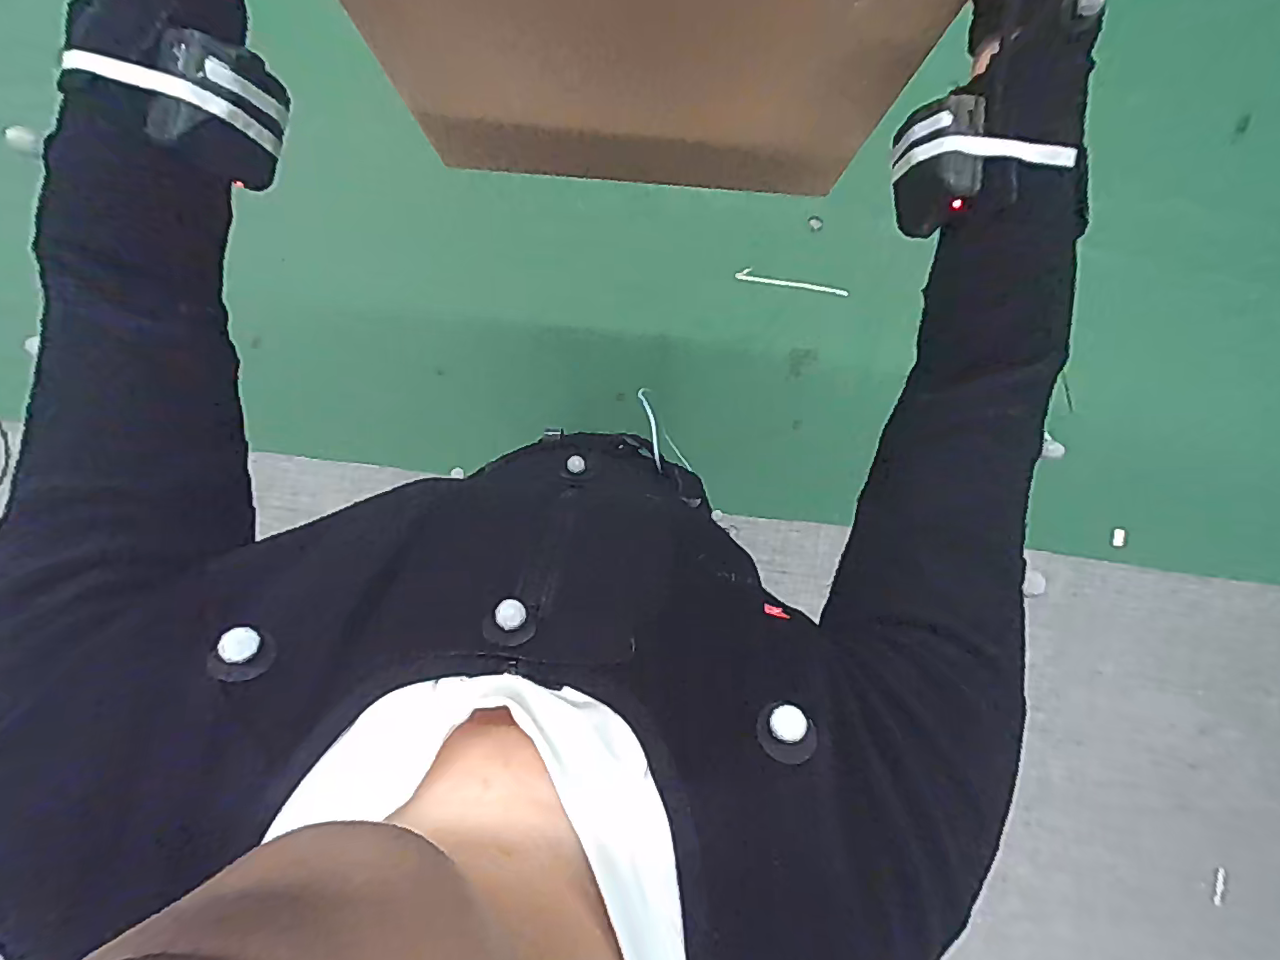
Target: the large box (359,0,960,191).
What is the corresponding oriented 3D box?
[{"bbox_3d":[0.011,-0.461,0.418,0.408,0.320,0.320,3,92,-2],"label":"large box"}]
